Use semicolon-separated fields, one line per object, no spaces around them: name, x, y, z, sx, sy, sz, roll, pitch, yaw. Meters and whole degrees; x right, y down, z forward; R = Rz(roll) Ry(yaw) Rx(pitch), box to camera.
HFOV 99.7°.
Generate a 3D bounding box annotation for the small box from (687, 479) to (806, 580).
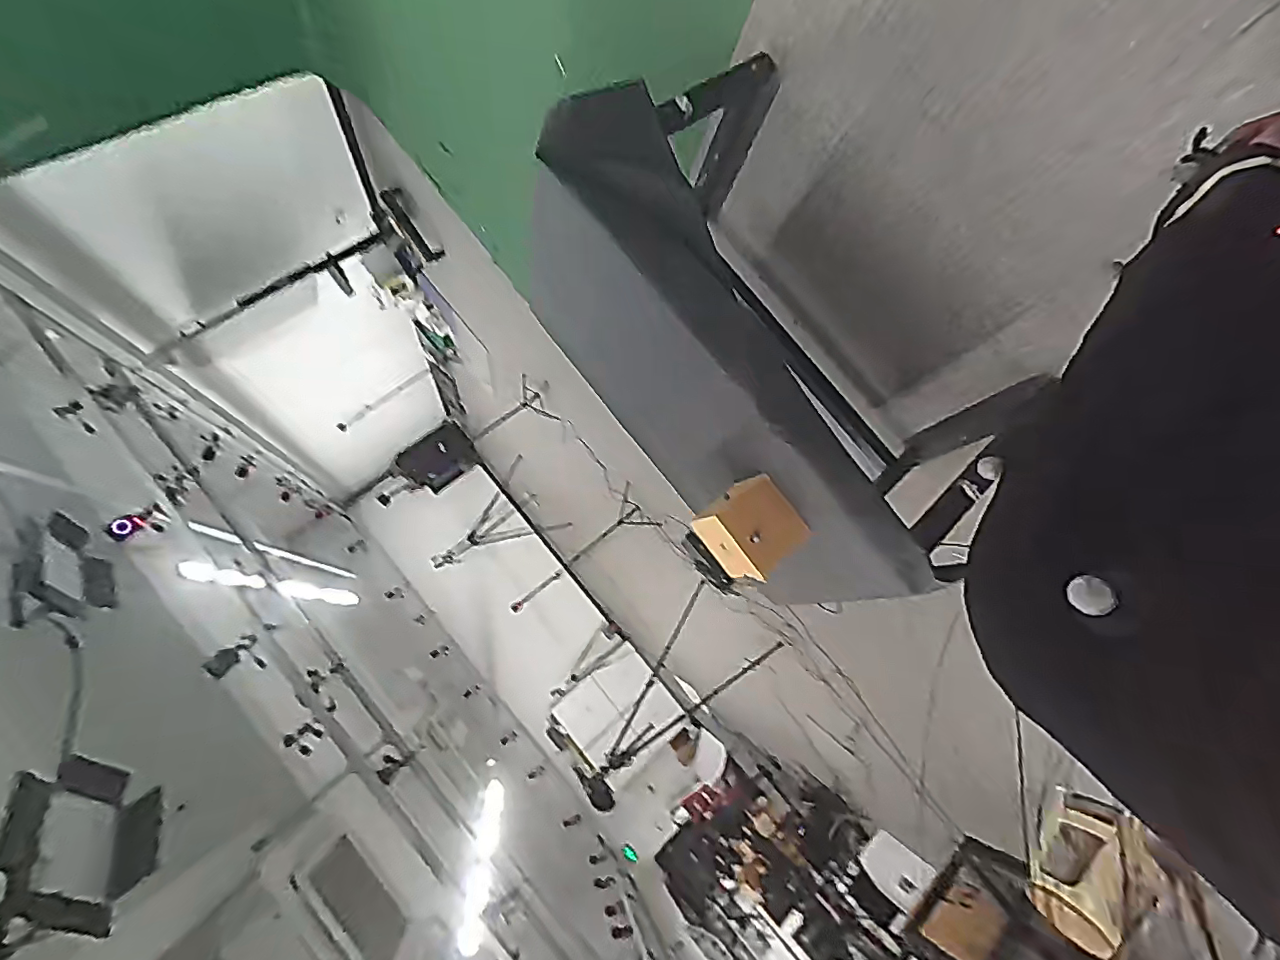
small box;0.248;0.114;1.266;0.179;0.176;0.168;52;161;-2
